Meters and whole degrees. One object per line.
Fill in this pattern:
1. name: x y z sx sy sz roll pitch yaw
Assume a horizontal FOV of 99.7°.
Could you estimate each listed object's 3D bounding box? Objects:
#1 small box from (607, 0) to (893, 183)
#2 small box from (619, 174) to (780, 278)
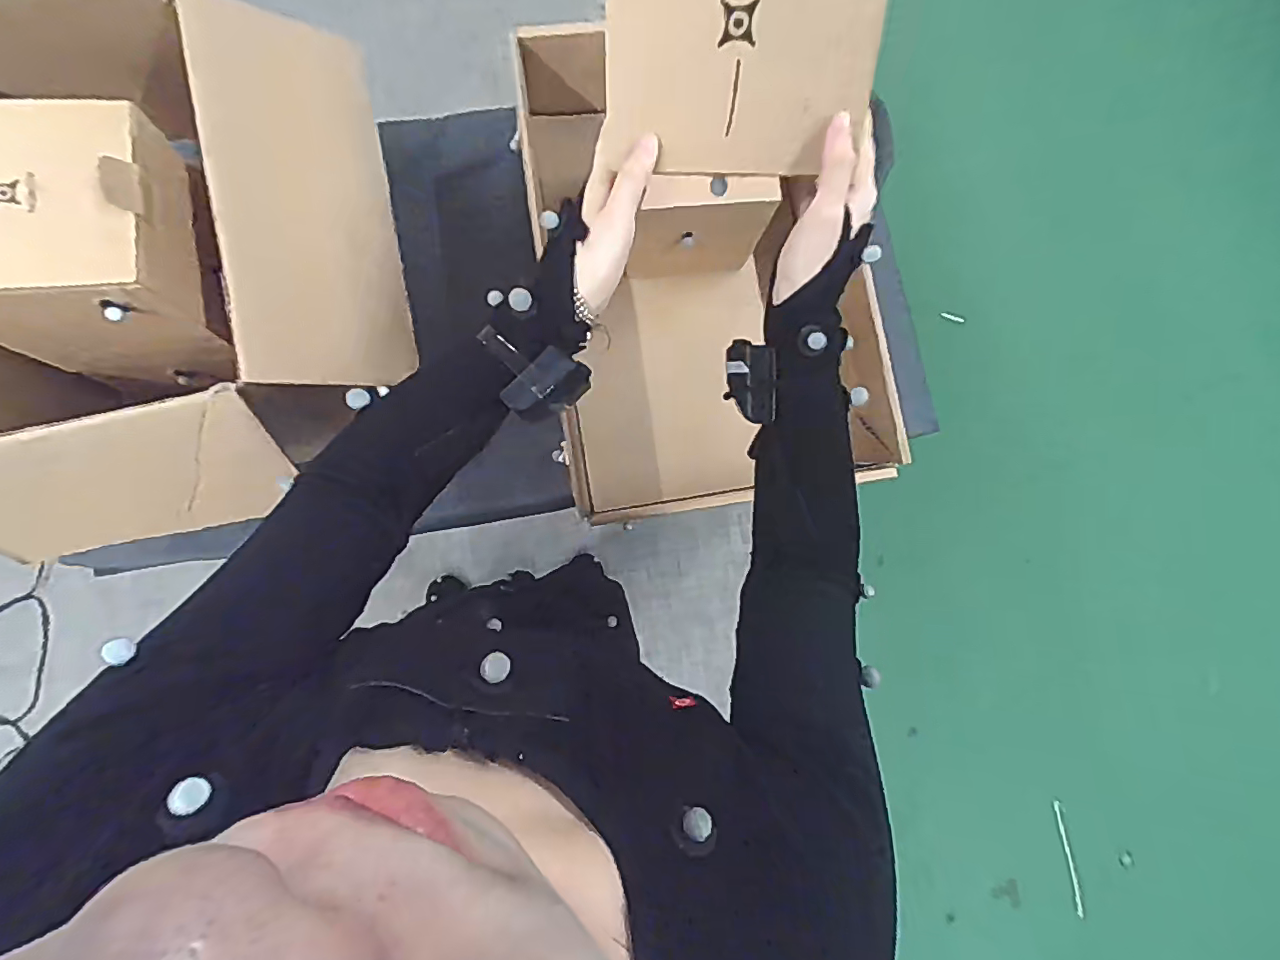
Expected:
1. small box: 0.072 -0.313 0.380 0.168 0.176 0.179 5 122 7
2. small box: 0.066 -0.385 0.717 0.179 0.176 0.168 -7 86 -5
